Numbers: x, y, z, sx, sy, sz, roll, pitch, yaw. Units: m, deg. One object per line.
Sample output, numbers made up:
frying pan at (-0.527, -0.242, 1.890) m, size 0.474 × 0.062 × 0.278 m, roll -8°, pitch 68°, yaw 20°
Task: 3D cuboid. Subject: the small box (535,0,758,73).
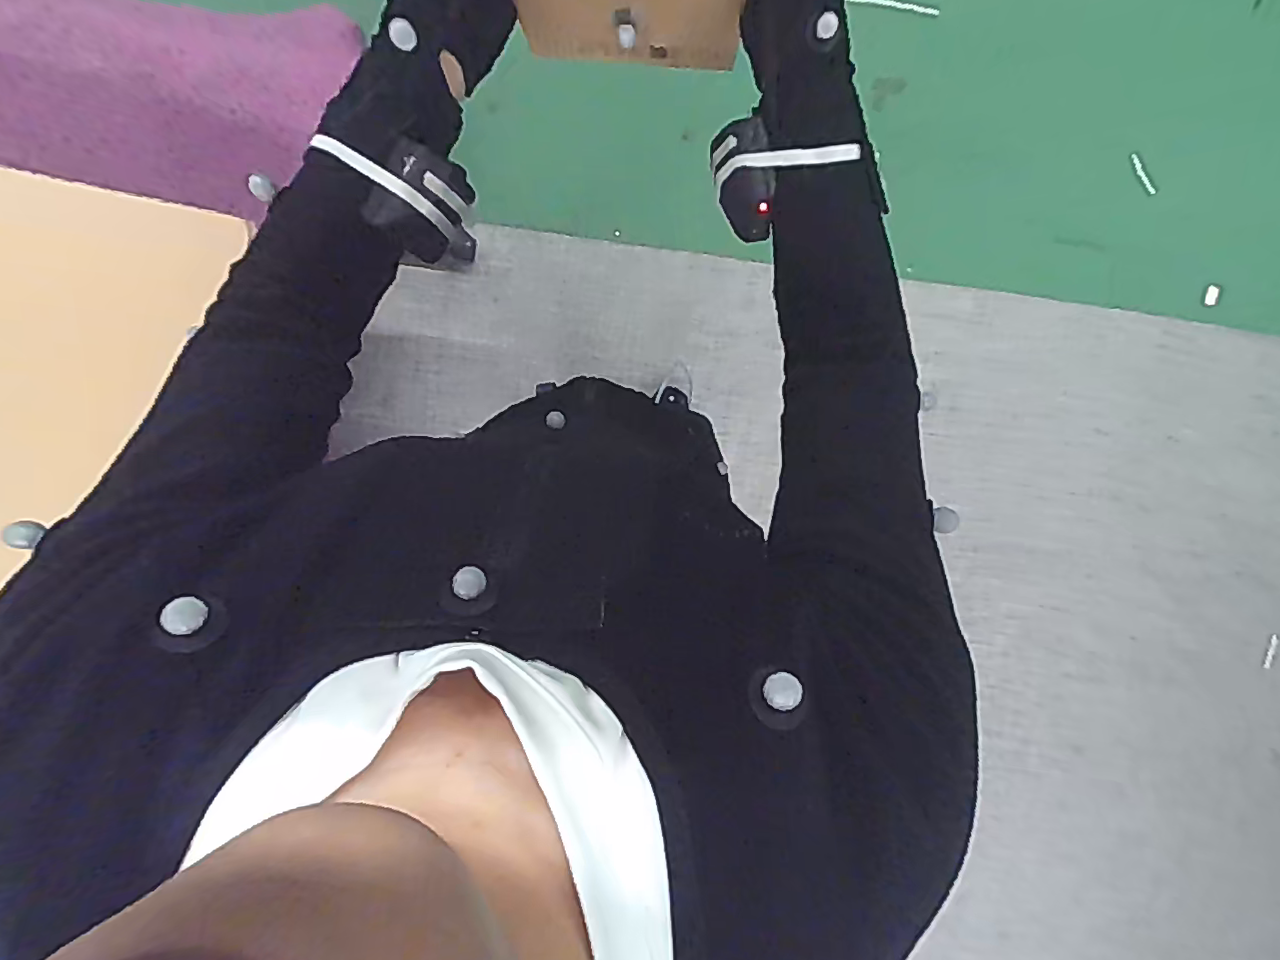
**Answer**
small box at (0.007, -0.412, 0.348) m, size 0.168 × 0.176 × 0.179 m, roll 6°, pitch 100°, yaw 1°
